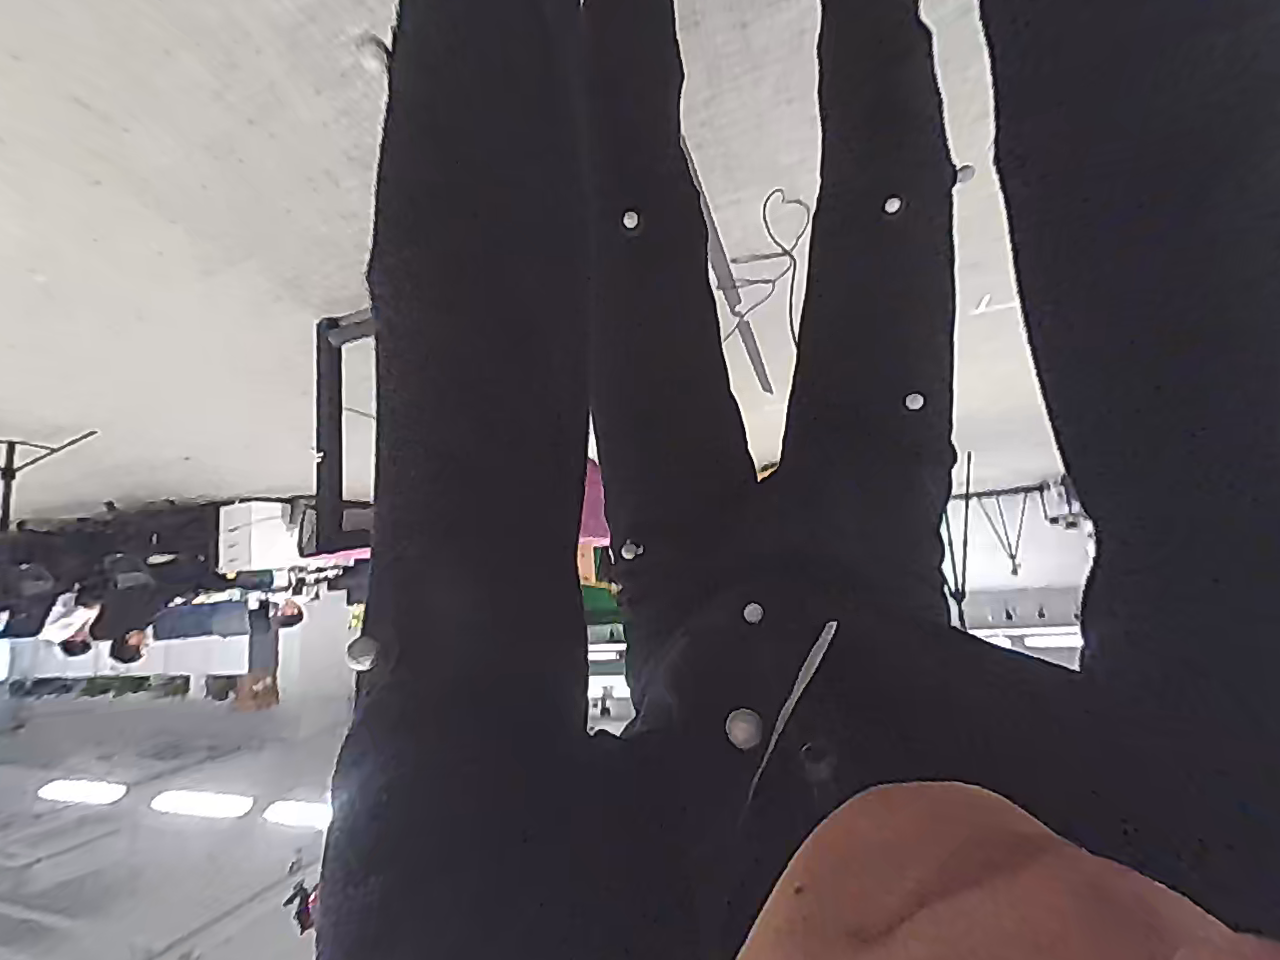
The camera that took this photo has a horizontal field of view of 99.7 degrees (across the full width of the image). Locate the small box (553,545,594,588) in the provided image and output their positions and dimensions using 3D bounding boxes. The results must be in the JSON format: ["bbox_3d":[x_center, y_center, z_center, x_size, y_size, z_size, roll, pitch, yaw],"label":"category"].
[{"bbox_3d":[-0.312,0.365,2.273,0.179,0.176,0.168,-10,170,28],"label":"small box"}]
